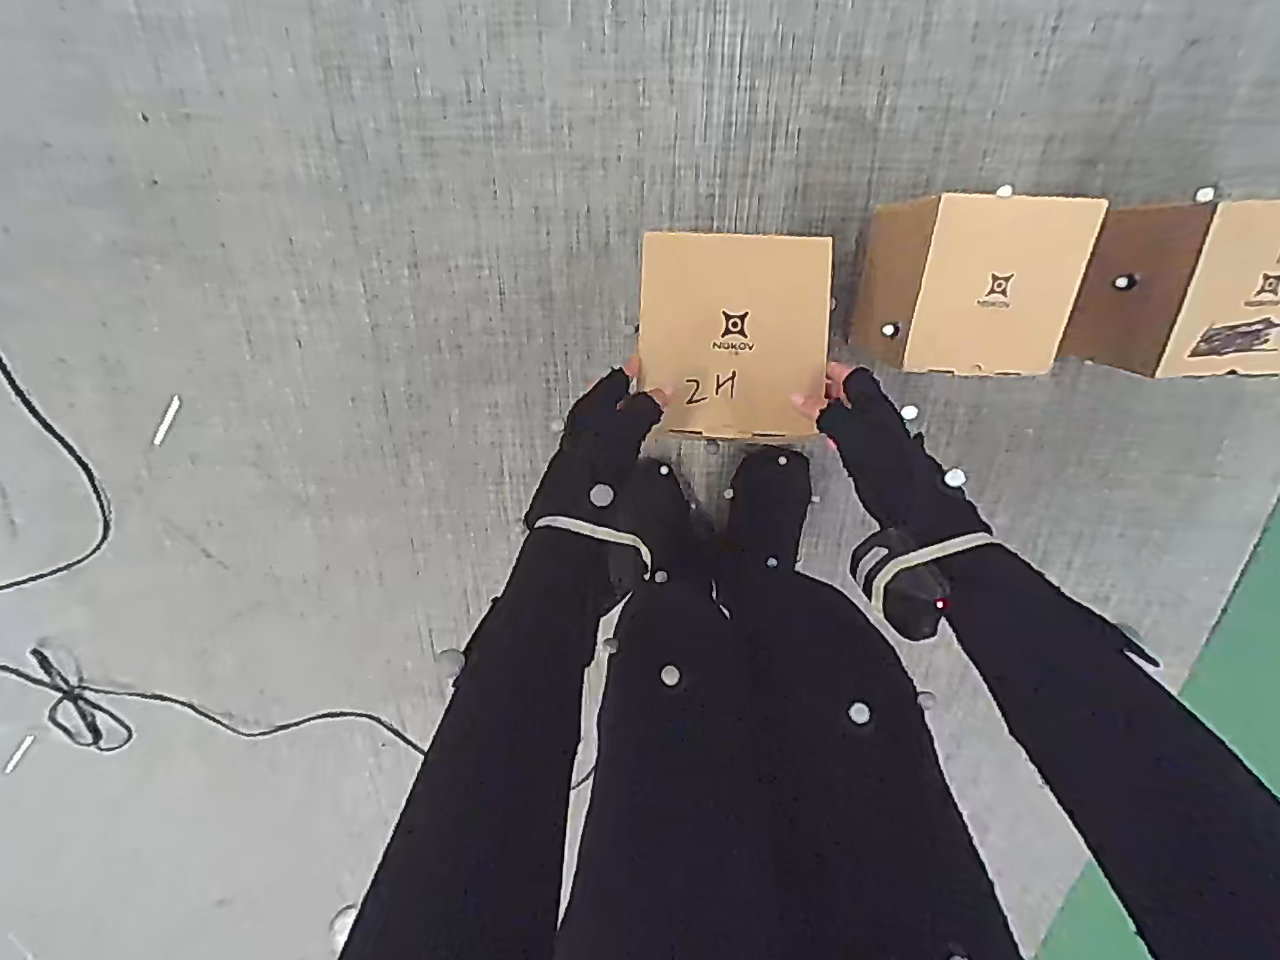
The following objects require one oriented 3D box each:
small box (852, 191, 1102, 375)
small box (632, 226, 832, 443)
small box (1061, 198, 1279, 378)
[{"bbox_3d":[0.366,-0.227,0.629,0.168,0.176,0.179,2,113,0],"label":"small box"},{"bbox_3d":[0.081,-0.131,0.544,0.168,0.176,0.179,3,93,2],"label":"small box"},{"bbox_3d":[0.634,-0.223,0.626,0.168,0.176,0.179,-1,113,1],"label":"small box"}]
